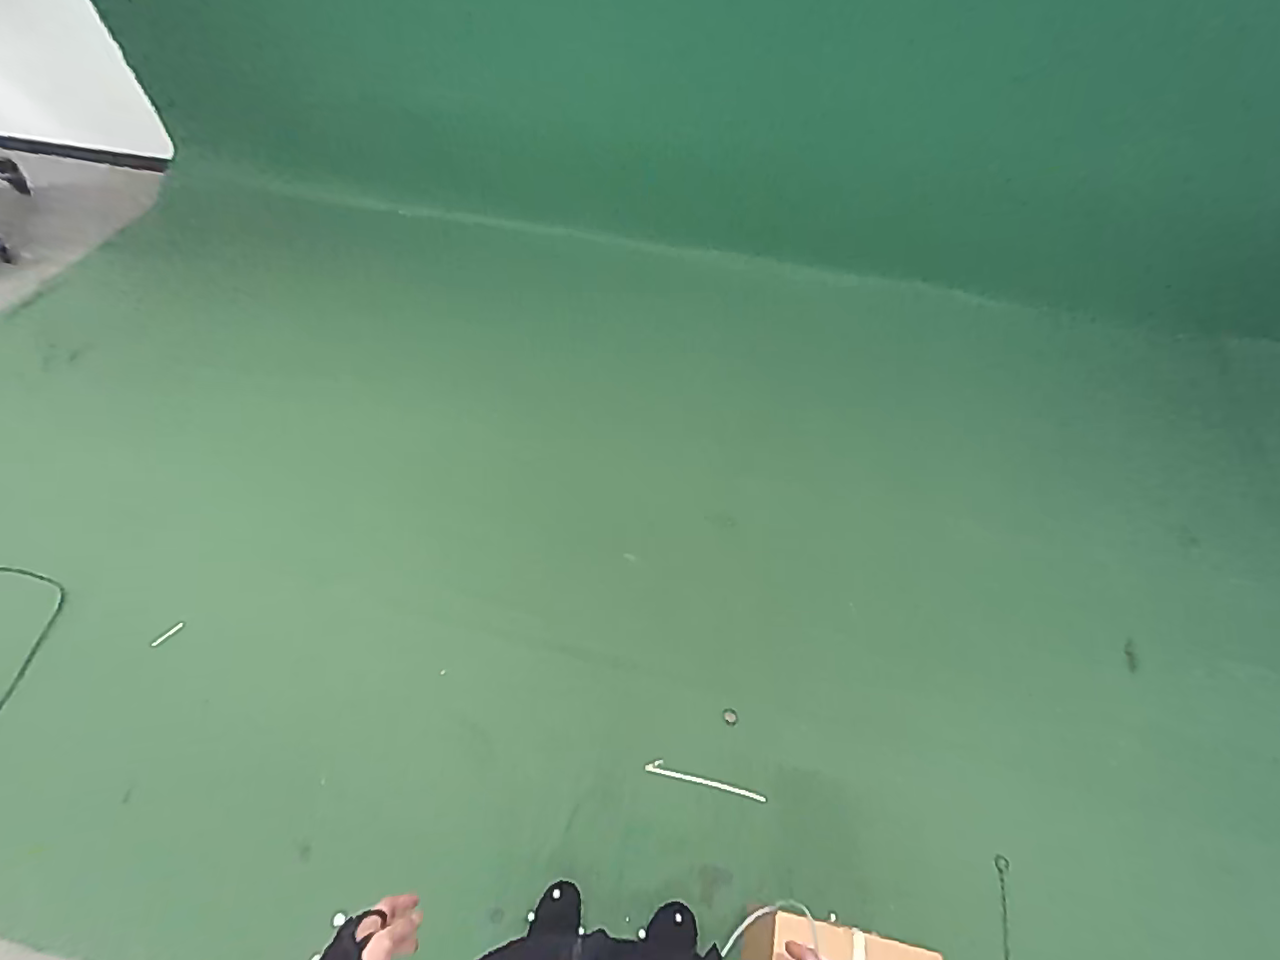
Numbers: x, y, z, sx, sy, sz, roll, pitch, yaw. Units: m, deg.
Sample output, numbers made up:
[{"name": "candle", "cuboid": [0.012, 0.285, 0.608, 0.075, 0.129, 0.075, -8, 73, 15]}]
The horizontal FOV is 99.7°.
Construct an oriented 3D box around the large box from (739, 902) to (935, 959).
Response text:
[{"name": "large box", "cuboid": [0.362, 1.104, 1.040, 0.320, 0.320, 0.408, 11, 56, 6]}]
